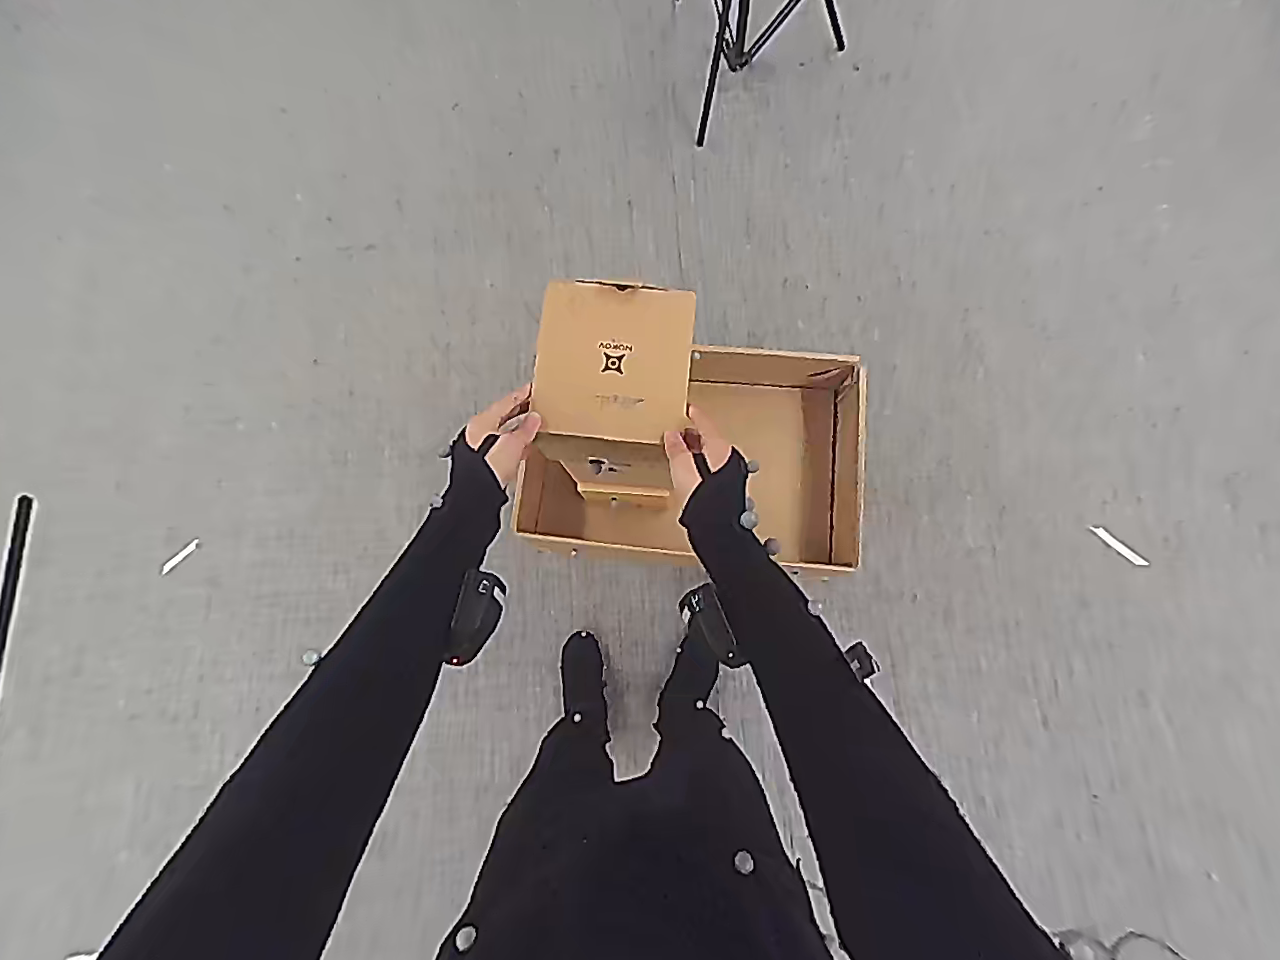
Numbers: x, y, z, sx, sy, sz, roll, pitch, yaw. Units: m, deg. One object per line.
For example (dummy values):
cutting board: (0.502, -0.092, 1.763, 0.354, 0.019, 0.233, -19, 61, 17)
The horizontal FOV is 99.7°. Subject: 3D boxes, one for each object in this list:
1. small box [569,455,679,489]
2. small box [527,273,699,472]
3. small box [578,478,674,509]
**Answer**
small box: (-0.022, -0.087, 0.873, 0.179, 0.176, 0.168, 5, 78, 4)
small box: (-0.028, -0.117, 0.645, 0.168, 0.176, 0.179, 6, 80, 1)
small box: (-0.016, -0.043, 1.032, 0.168, 0.176, 0.179, 4, 77, 4)
